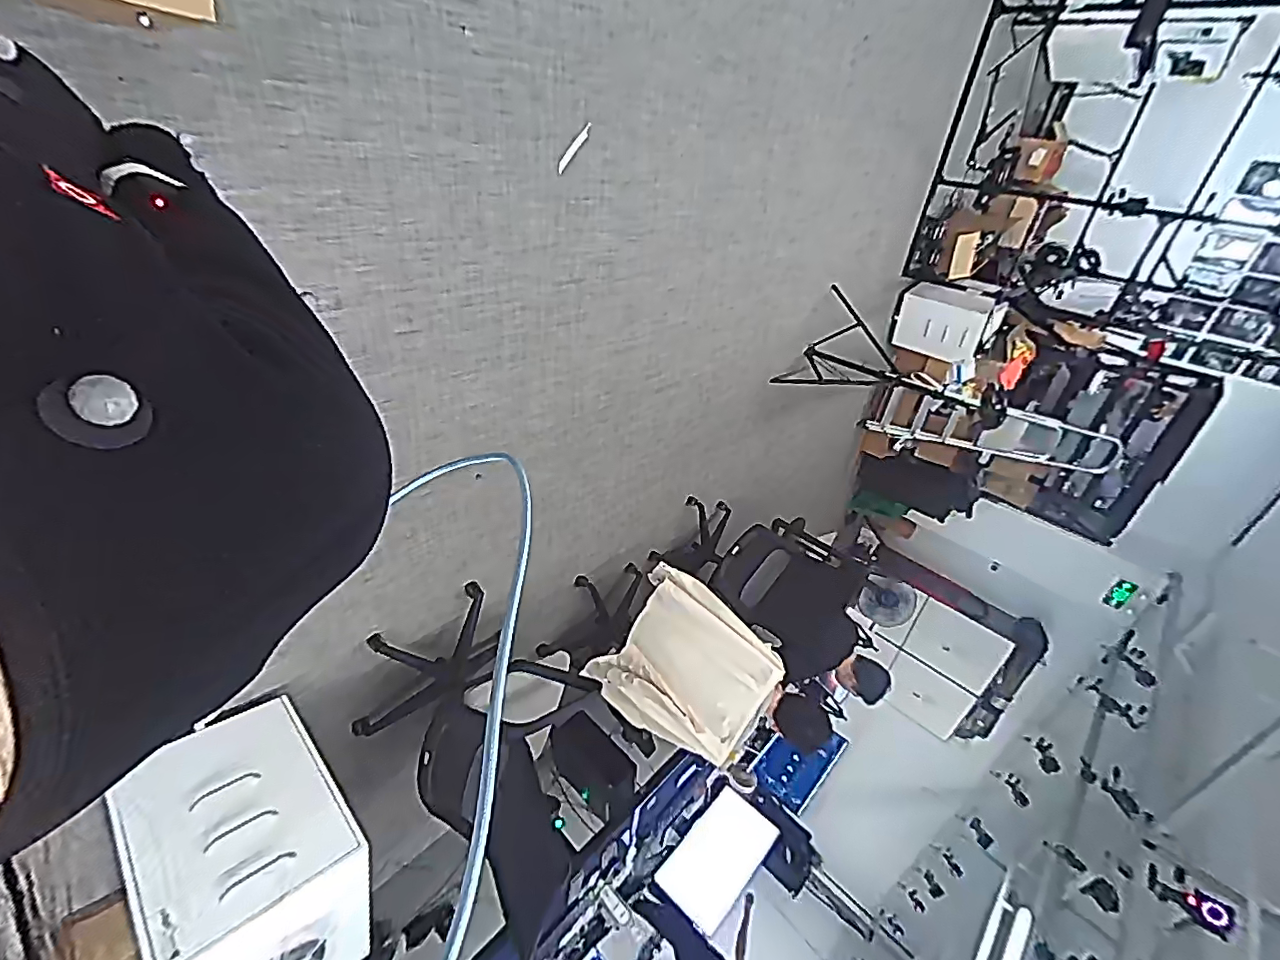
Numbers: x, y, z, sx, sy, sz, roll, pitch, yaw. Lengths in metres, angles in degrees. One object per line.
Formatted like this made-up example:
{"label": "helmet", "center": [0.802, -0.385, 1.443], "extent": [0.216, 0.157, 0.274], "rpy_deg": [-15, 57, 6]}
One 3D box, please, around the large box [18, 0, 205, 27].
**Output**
{"label": "large box", "center": [-0.811, -0.754, 0.608], "extent": [0.408, 0.320, 0.320], "rpy_deg": [-23, 131, -43]}
